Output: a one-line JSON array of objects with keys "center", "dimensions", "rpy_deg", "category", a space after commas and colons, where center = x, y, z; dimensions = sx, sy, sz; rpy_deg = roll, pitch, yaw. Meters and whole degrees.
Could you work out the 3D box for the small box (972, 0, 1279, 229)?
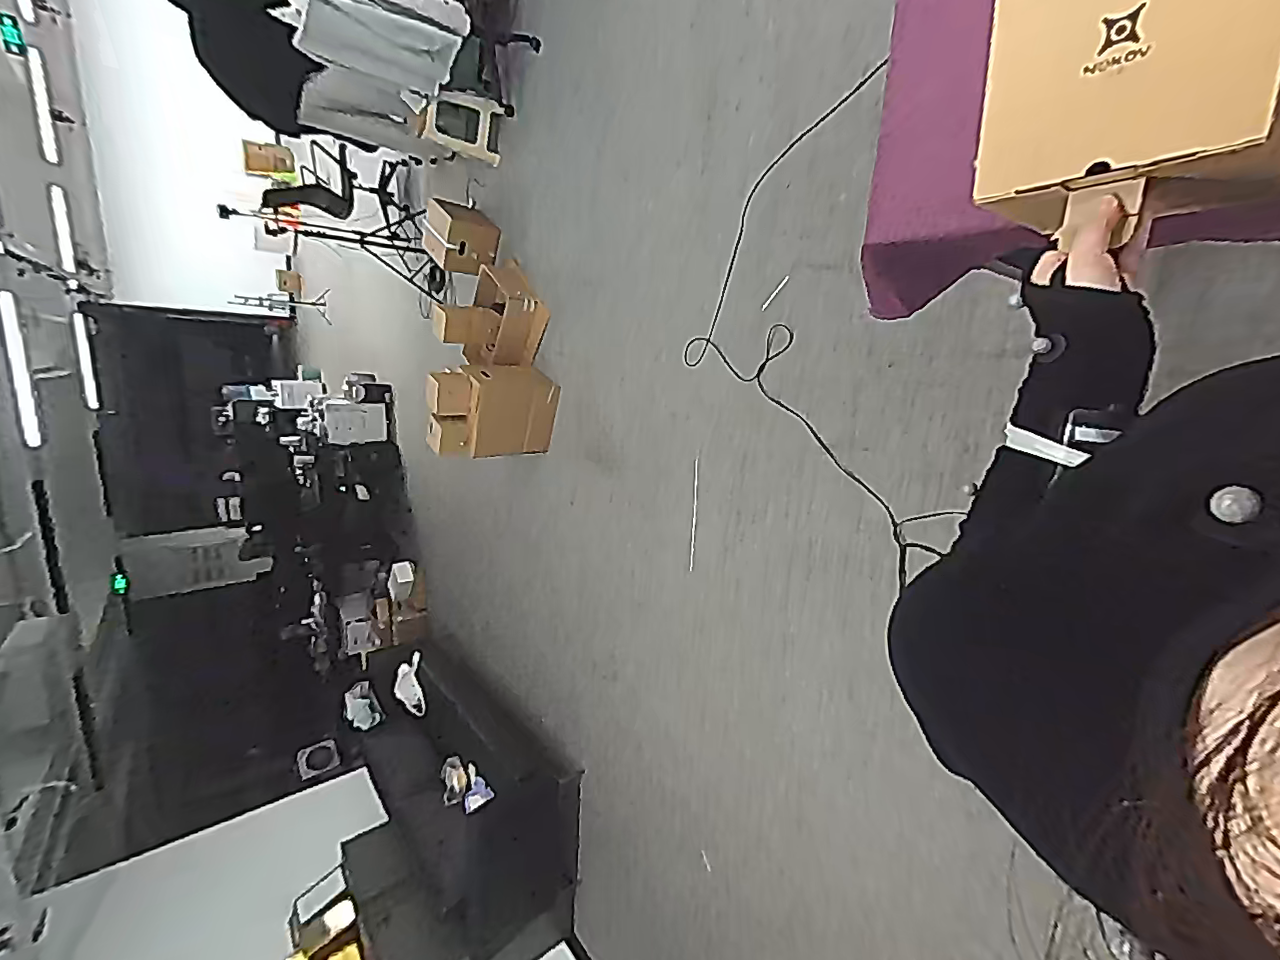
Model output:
[{"center": [0.400, -0.320, 0.434], "dimensions": [0.168, 0.176, 0.179], "rpy_deg": [16, 110, 51], "category": "small box"}]
